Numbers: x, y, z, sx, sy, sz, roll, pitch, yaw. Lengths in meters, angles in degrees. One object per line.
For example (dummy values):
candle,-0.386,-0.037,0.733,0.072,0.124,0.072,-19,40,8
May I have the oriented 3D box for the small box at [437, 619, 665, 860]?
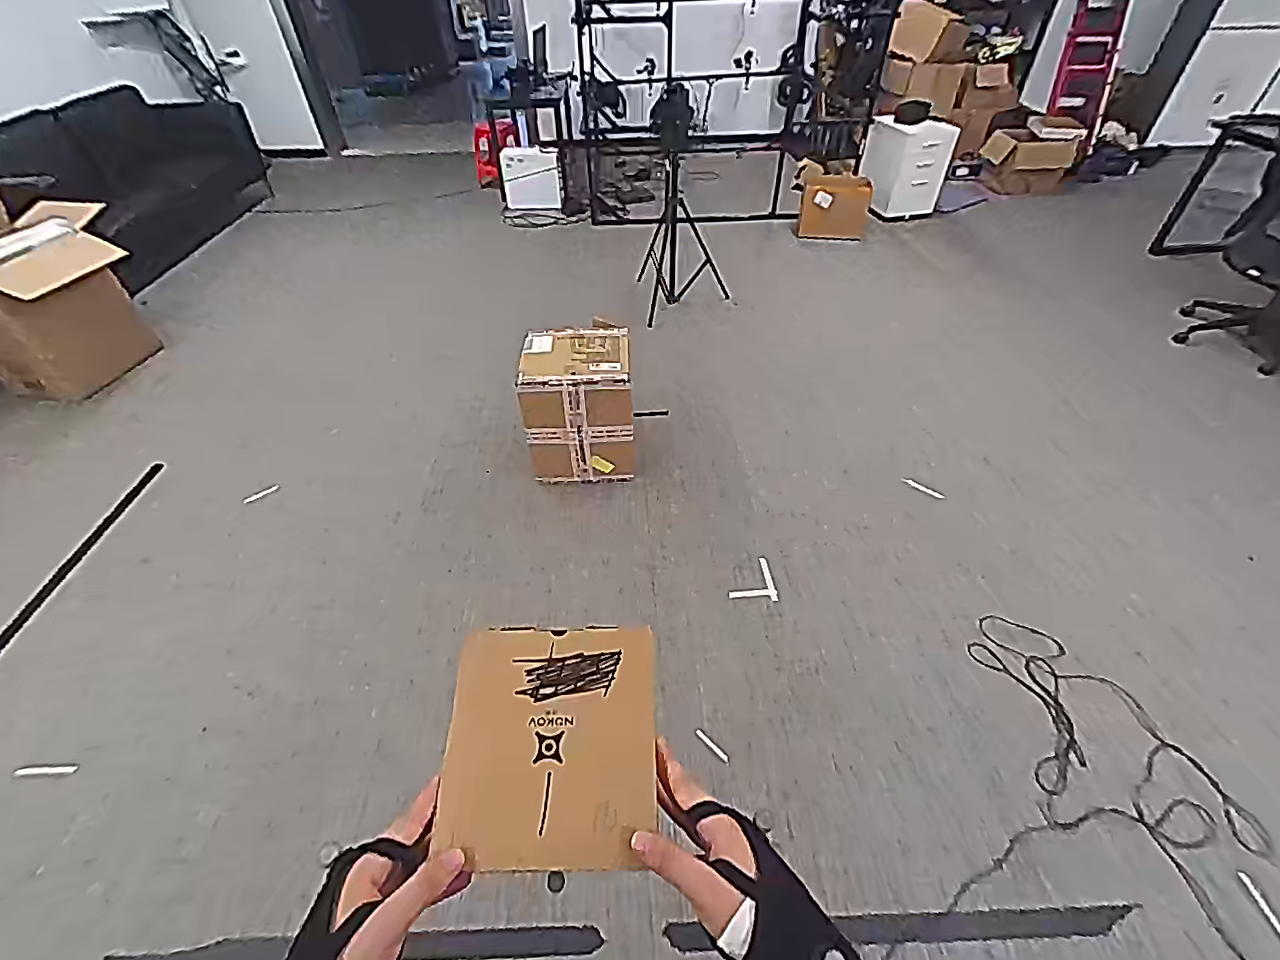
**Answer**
small box,-0.064,0.242,0.498,0.168,0.176,0.179,-1,56,1
